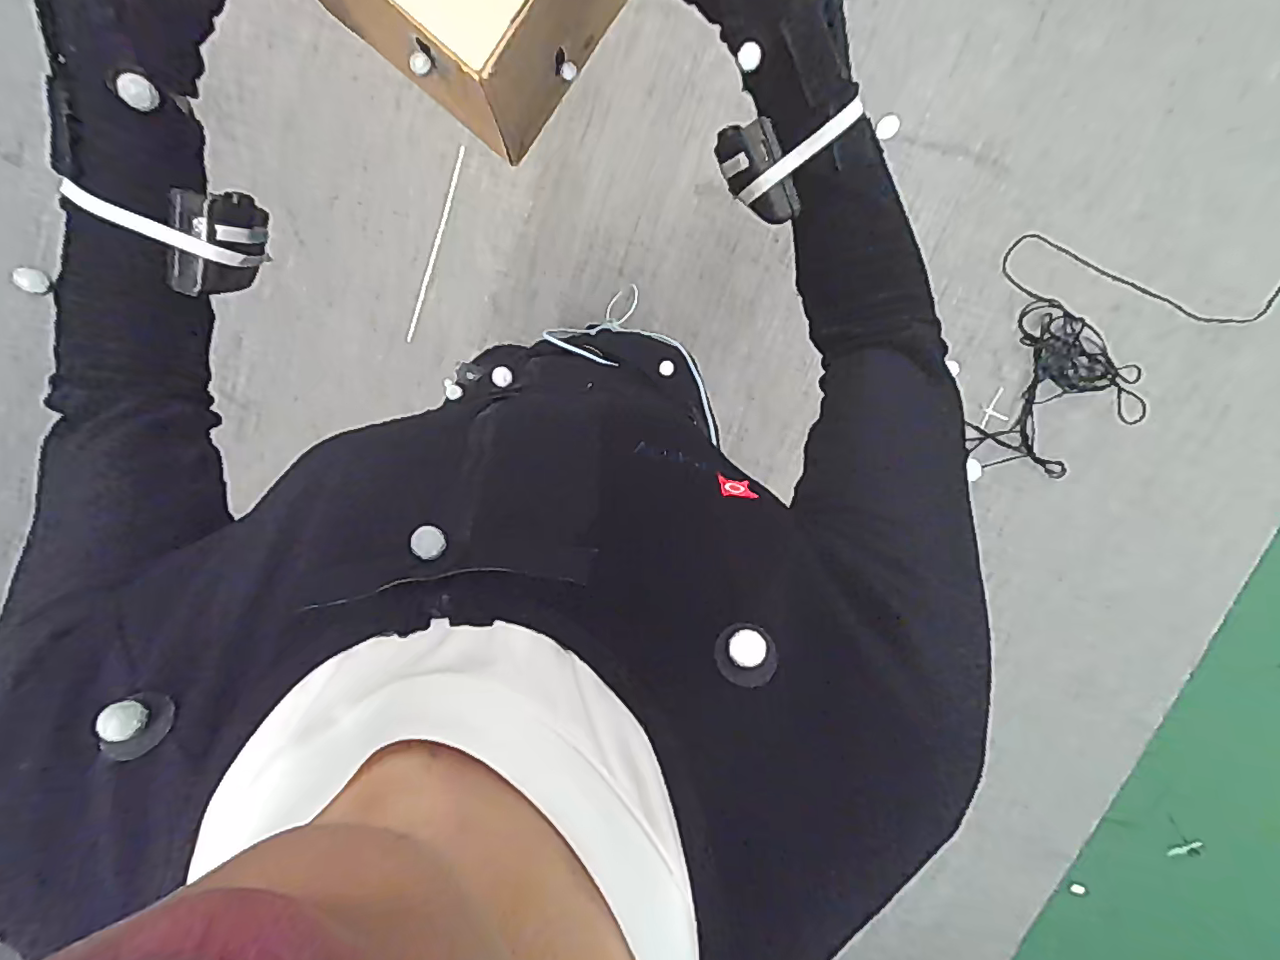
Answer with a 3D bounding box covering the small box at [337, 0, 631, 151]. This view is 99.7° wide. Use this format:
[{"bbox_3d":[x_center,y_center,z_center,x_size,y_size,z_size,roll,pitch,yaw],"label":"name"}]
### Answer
[{"bbox_3d":[-0.109,-0.357,0.348,0.179,0.176,0.168,36,98,-16],"label":"small box"}]
